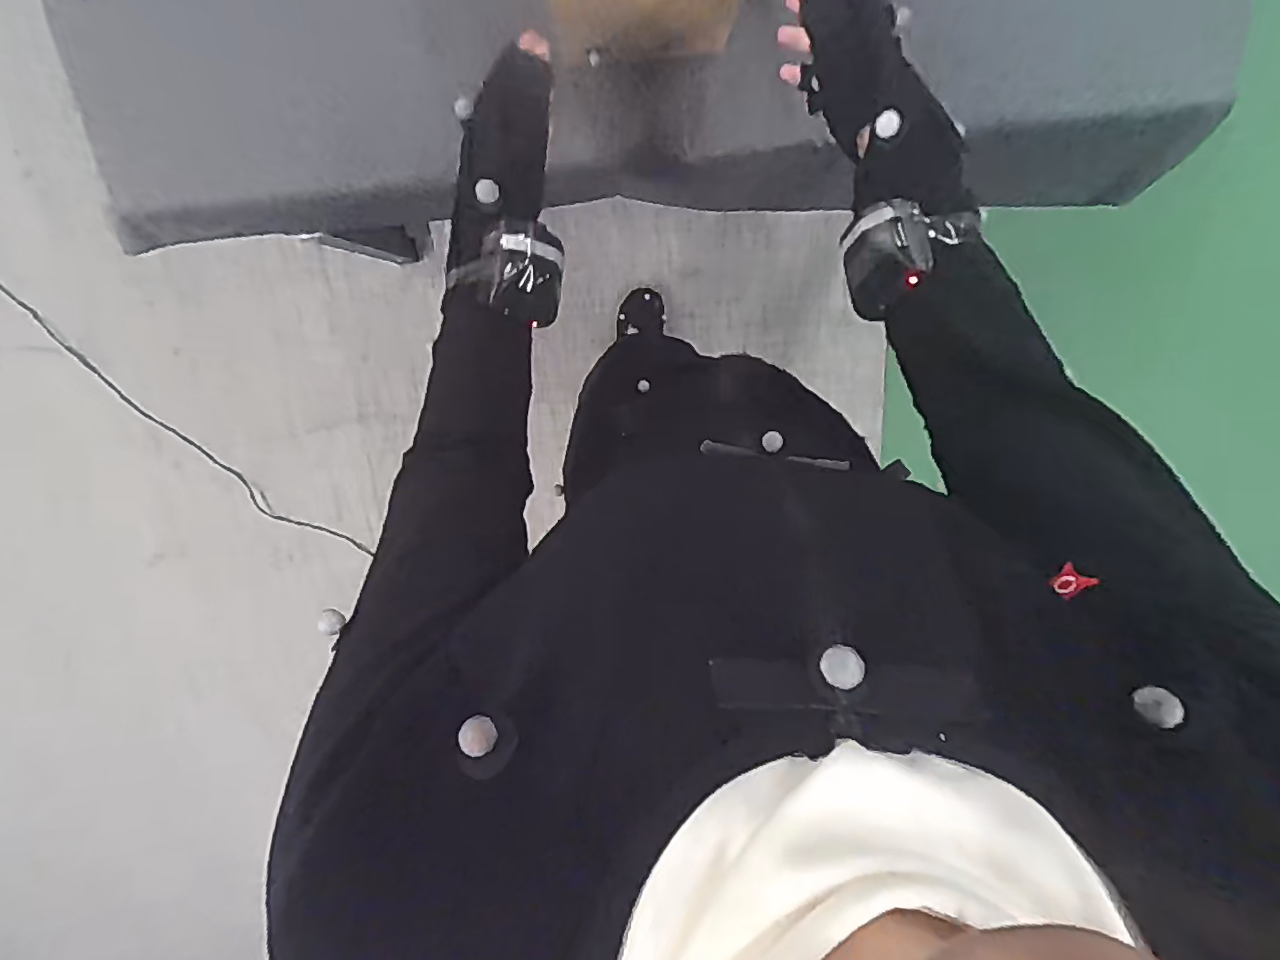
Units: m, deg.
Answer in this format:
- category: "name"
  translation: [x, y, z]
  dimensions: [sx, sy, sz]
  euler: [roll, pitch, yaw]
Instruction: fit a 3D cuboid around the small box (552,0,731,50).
- category: "small box"
  translation: [-0.002, -0.500, 0.458]
  dimensions: [0.168, 0.176, 0.179]
  euler: [-6, 106, -1]
